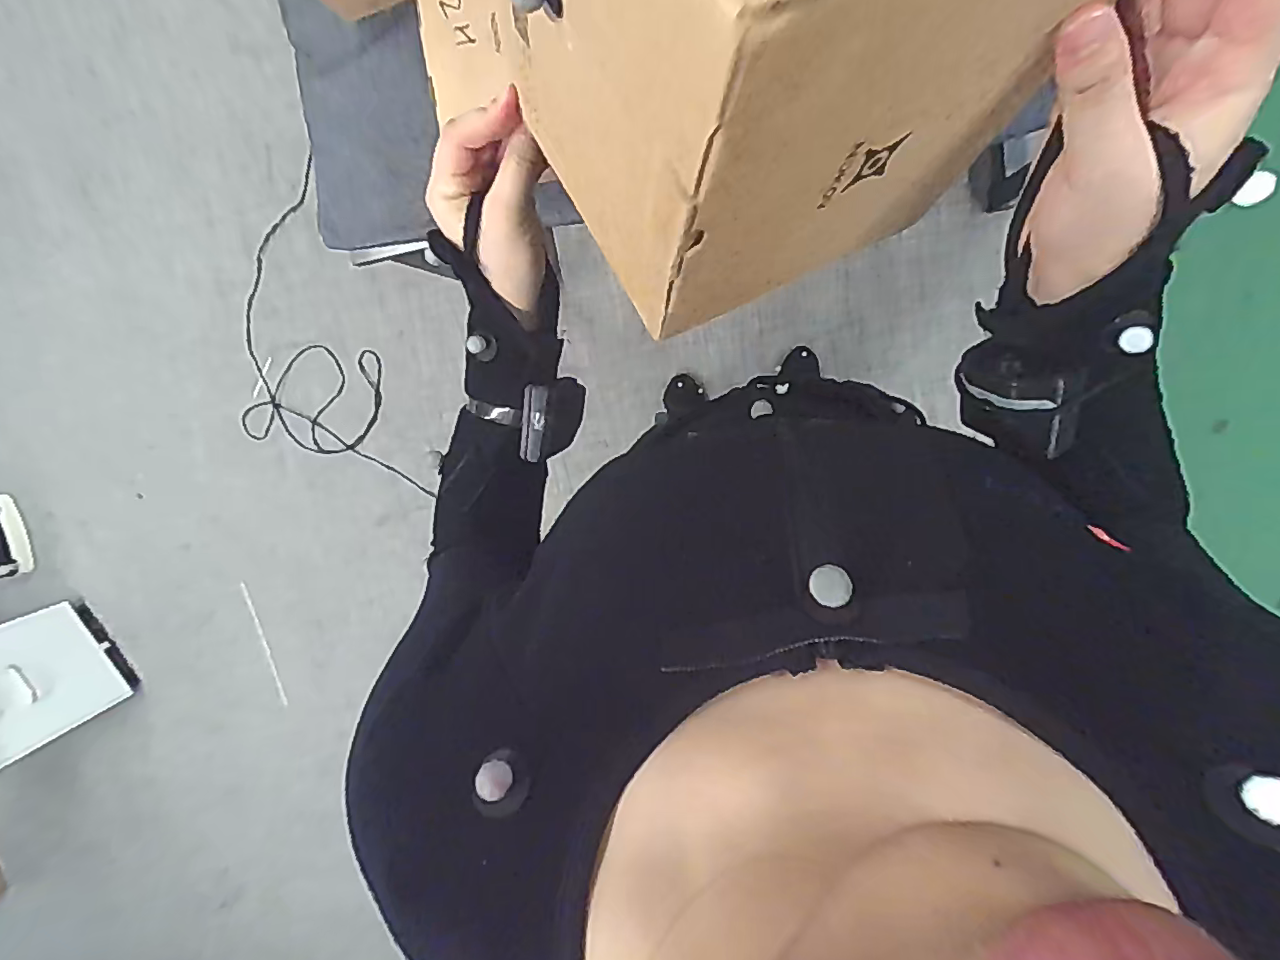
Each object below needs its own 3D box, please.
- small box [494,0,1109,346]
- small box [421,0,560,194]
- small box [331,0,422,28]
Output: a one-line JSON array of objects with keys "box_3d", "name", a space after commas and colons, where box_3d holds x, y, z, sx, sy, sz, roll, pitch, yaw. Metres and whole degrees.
[{"box_3d": [0.049, -0.195, 0.232, 0.179, 0.168, 0.176, -26, 82, -8], "name": "small box"}, {"box_3d": [-0.114, -0.445, 0.608, 0.179, 0.176, 0.168, -5, 101, 10], "name": "small box"}, {"box_3d": [-0.323, -0.666, 0.598, 0.168, 0.176, 0.179, -12, 100, 11], "name": "small box"}]
